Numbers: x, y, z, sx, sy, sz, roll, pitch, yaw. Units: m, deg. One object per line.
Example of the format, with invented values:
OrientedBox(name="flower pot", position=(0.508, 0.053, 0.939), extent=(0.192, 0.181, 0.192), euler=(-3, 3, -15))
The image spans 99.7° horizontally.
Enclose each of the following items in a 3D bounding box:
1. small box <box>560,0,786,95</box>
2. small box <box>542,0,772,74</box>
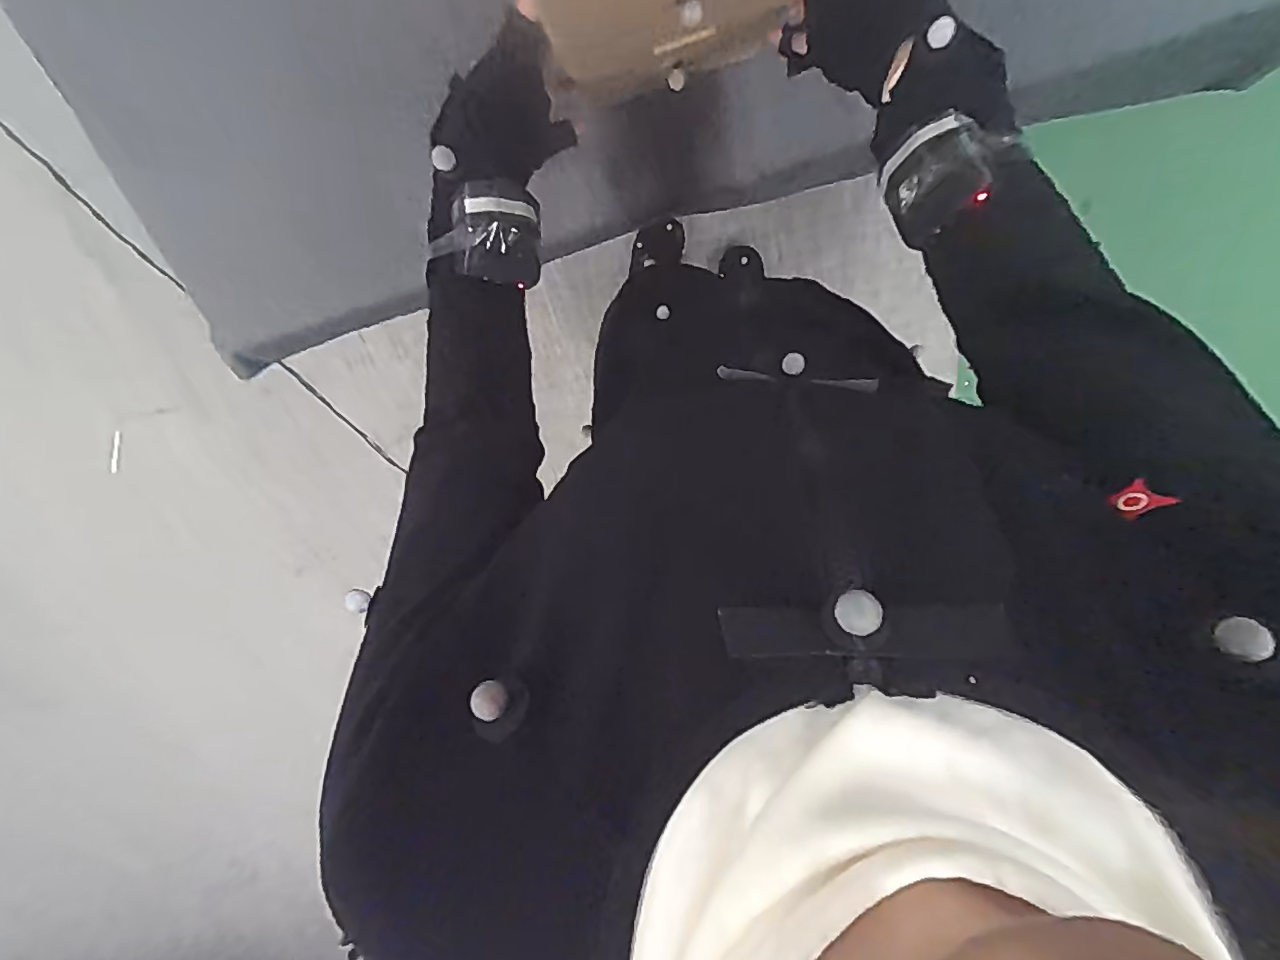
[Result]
OrientedBox(name="small box", position=(0.003, -0.421, 0.411), extent=(0.168, 0.176, 0.179), euler=(-15, 117, 7))
OrientedBox(name="small box", position=(0.012, -0.340, 0.267), extent=(0.179, 0.176, 0.168), euler=(-17, 116, 7))
